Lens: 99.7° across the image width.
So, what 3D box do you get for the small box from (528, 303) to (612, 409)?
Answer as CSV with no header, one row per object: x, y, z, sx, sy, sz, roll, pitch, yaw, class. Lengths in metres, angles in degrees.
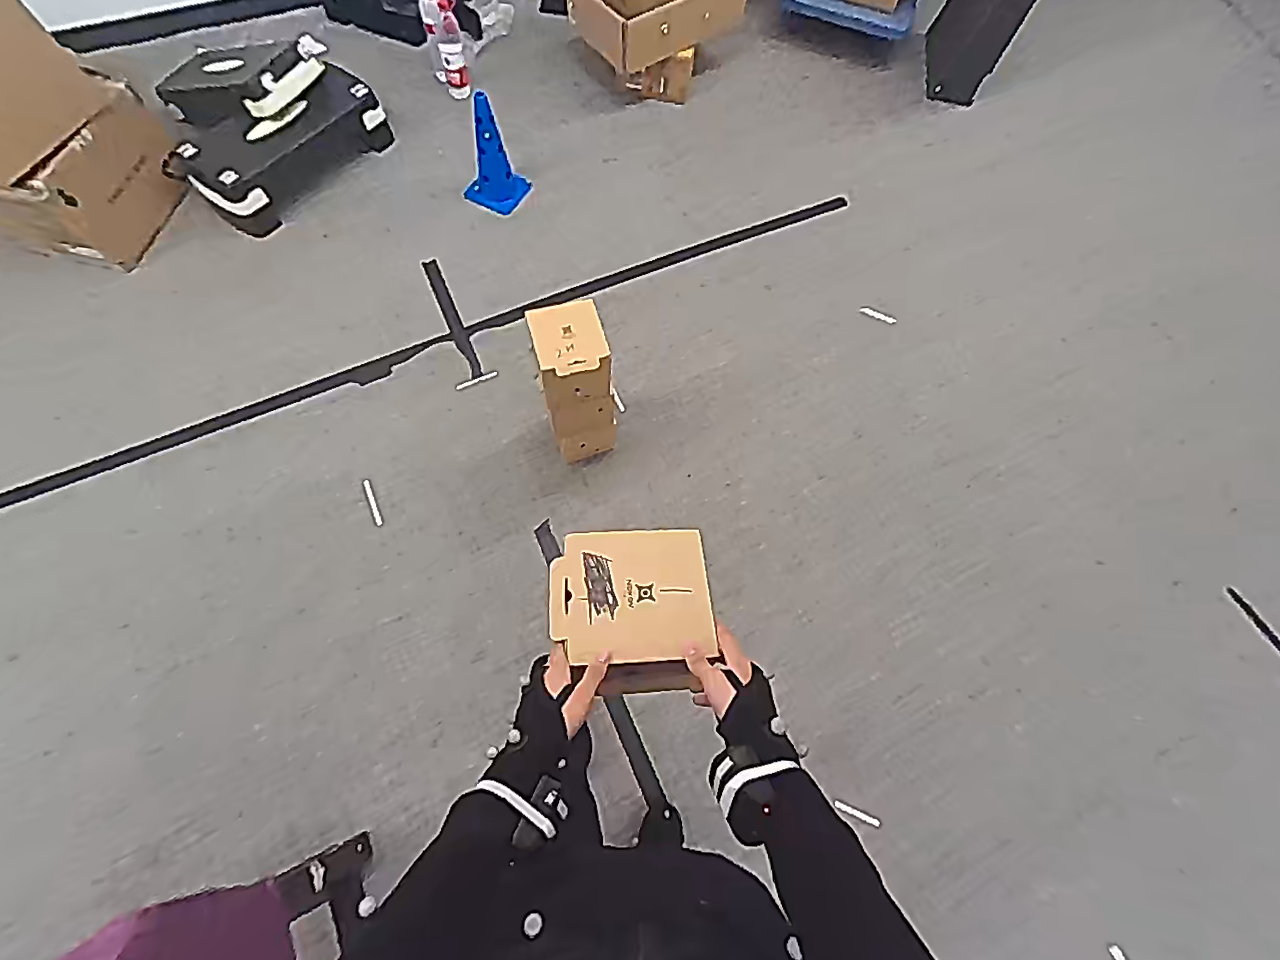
-0.172,-0.301,1.329,0.168,0.176,0.179,-14,70,-10,small box

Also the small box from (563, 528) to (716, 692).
-0.011,0.175,0.713,0.179,0.176,0.168,0,57,-7,small box

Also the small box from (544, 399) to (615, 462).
-0.179,-0.170,1.632,0.168,0.176,0.179,-19,70,-11,small box
